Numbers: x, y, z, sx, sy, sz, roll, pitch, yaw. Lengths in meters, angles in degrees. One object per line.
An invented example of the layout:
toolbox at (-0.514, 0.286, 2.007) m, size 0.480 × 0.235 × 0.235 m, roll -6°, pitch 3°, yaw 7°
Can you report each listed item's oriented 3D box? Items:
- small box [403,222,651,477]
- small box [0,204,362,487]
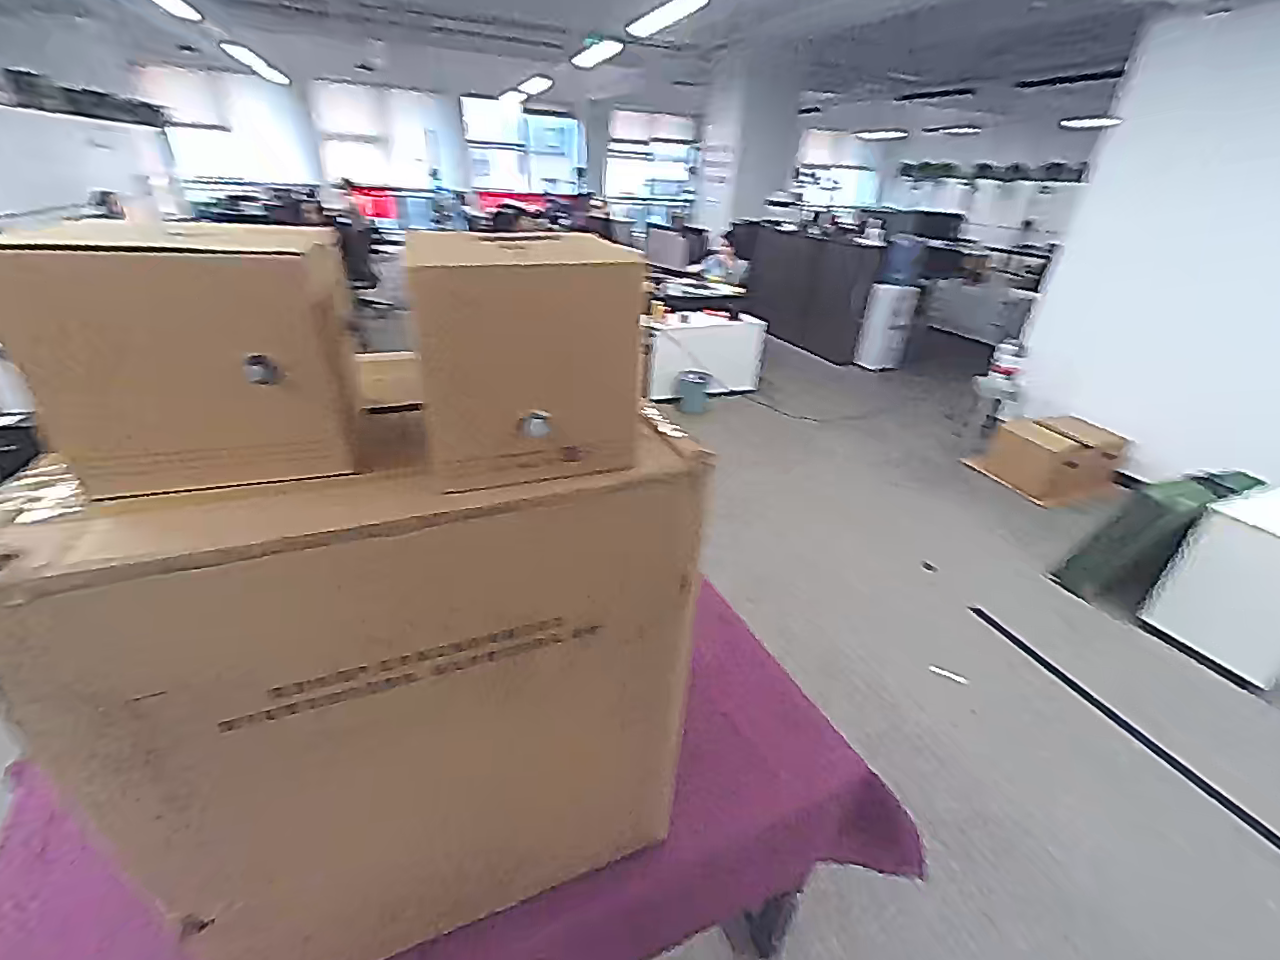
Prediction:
small box at (-0.100, -0.120, 0.462) m, size 0.168 × 0.176 × 0.179 m, roll -9°, pitch 31°, yaw -18°
small box at (-0.327, -0.111, 0.420) m, size 0.179 × 0.176 × 0.168 m, roll -8°, pitch 30°, yaw -20°
